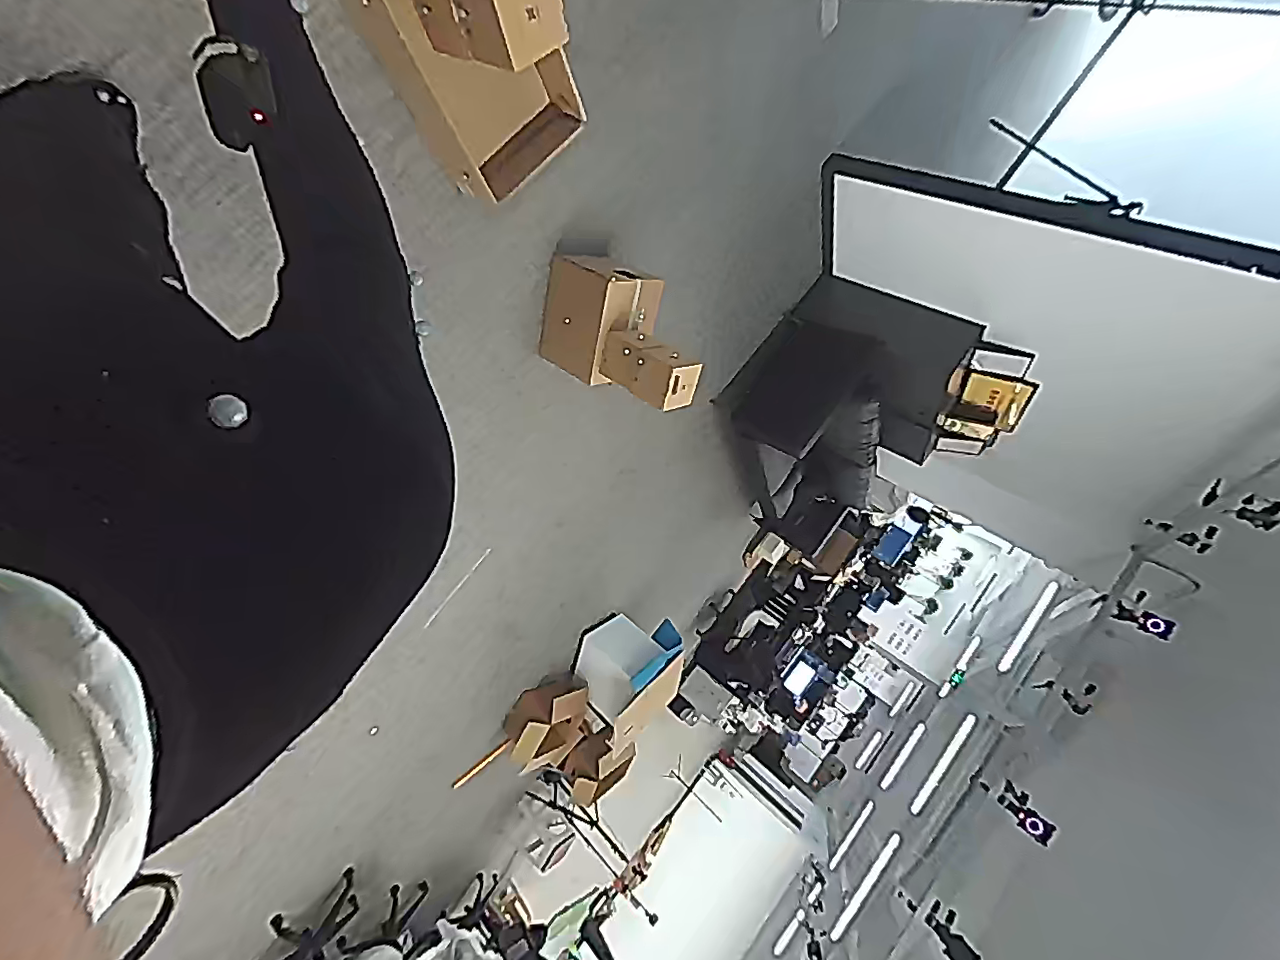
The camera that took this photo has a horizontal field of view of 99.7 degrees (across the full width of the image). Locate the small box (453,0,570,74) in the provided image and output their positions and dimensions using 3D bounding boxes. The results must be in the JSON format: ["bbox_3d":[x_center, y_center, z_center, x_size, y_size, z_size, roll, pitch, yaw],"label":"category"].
[{"bbox_3d":[-0.293,-1.061,1.218,0.179,0.176,0.168,-45,152,-17],"label":"small box"}]

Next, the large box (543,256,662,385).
[{"bbox_3d":[-0.159,-0.637,2.142,0.320,0.320,0.408,-24,136,-45],"label":"large box"}]

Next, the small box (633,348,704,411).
[{"bbox_3d":[0.099,-0.368,1.953,0.179,0.176,0.168,-22,136,-46],"label":"small box"}]
